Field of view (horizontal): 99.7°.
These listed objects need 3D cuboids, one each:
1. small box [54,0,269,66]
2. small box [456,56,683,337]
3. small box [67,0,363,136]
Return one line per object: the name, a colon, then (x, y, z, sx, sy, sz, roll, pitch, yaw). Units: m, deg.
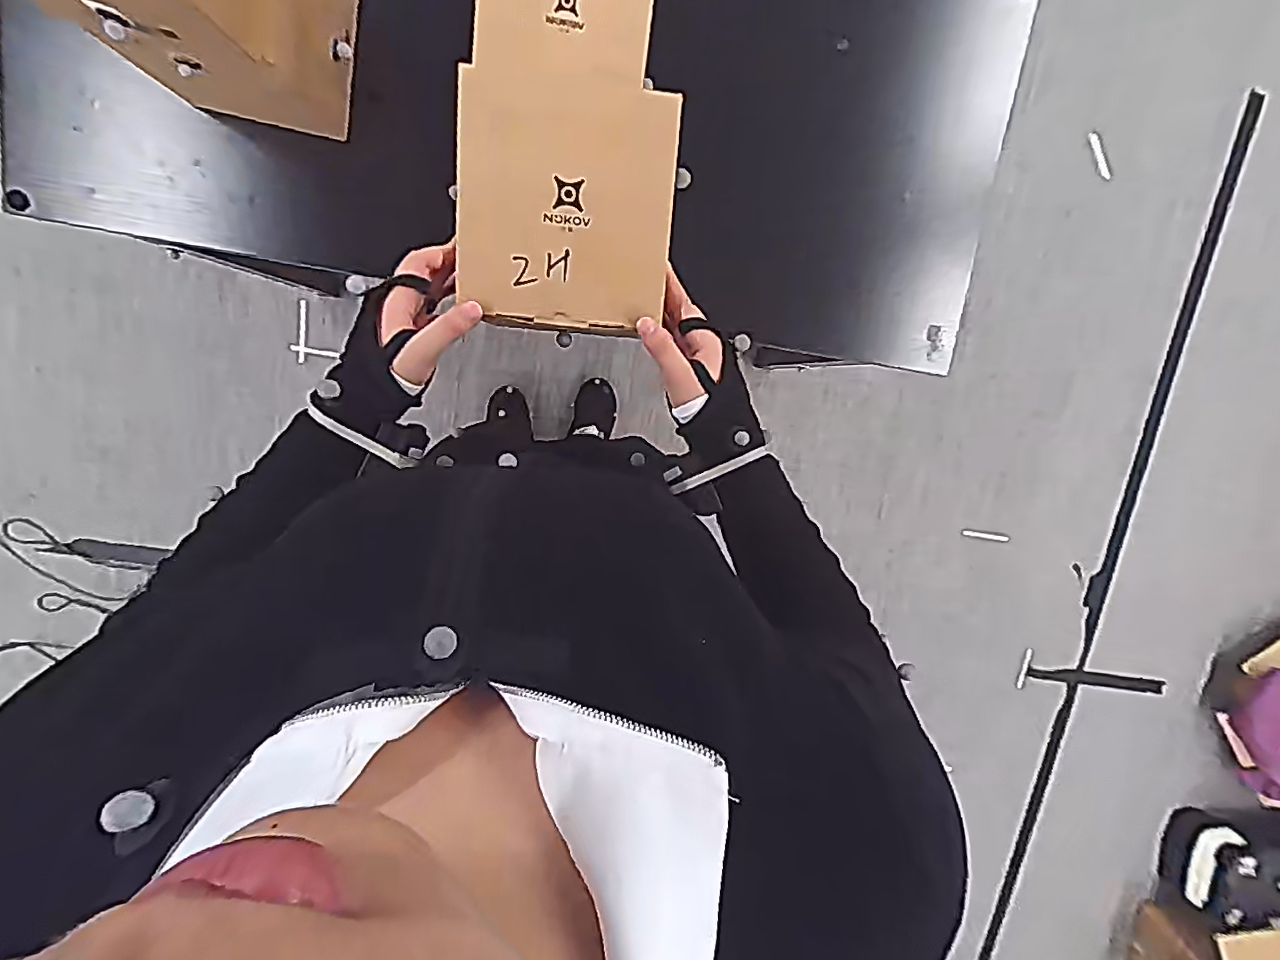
small box: (-0.399, -0.458, 0.393, 0.168, 0.176, 0.179, 8, 100, -6)
small box: (-0.064, -0.233, 0.495, 0.168, 0.176, 0.179, 4, 101, -6)
small box: (-0.413, -0.488, 0.552, 0.179, 0.176, 0.168, 9, 99, -8)
